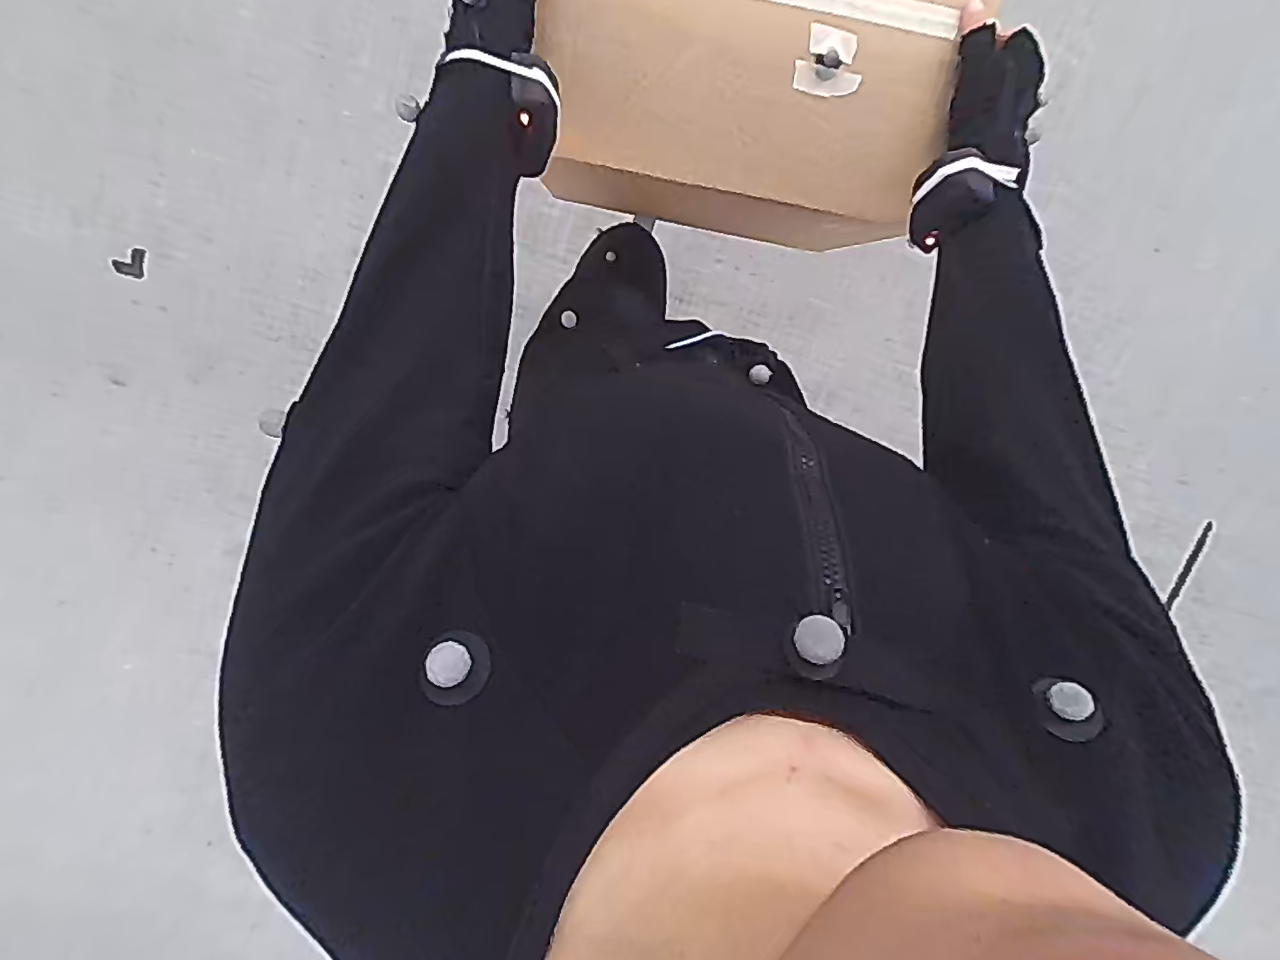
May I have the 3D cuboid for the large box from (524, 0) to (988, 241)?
[{"bbox_3d":[0.101,-0.479,0.612,0.408,0.320,0.320,9,110,-6],"label":"large box"}]
